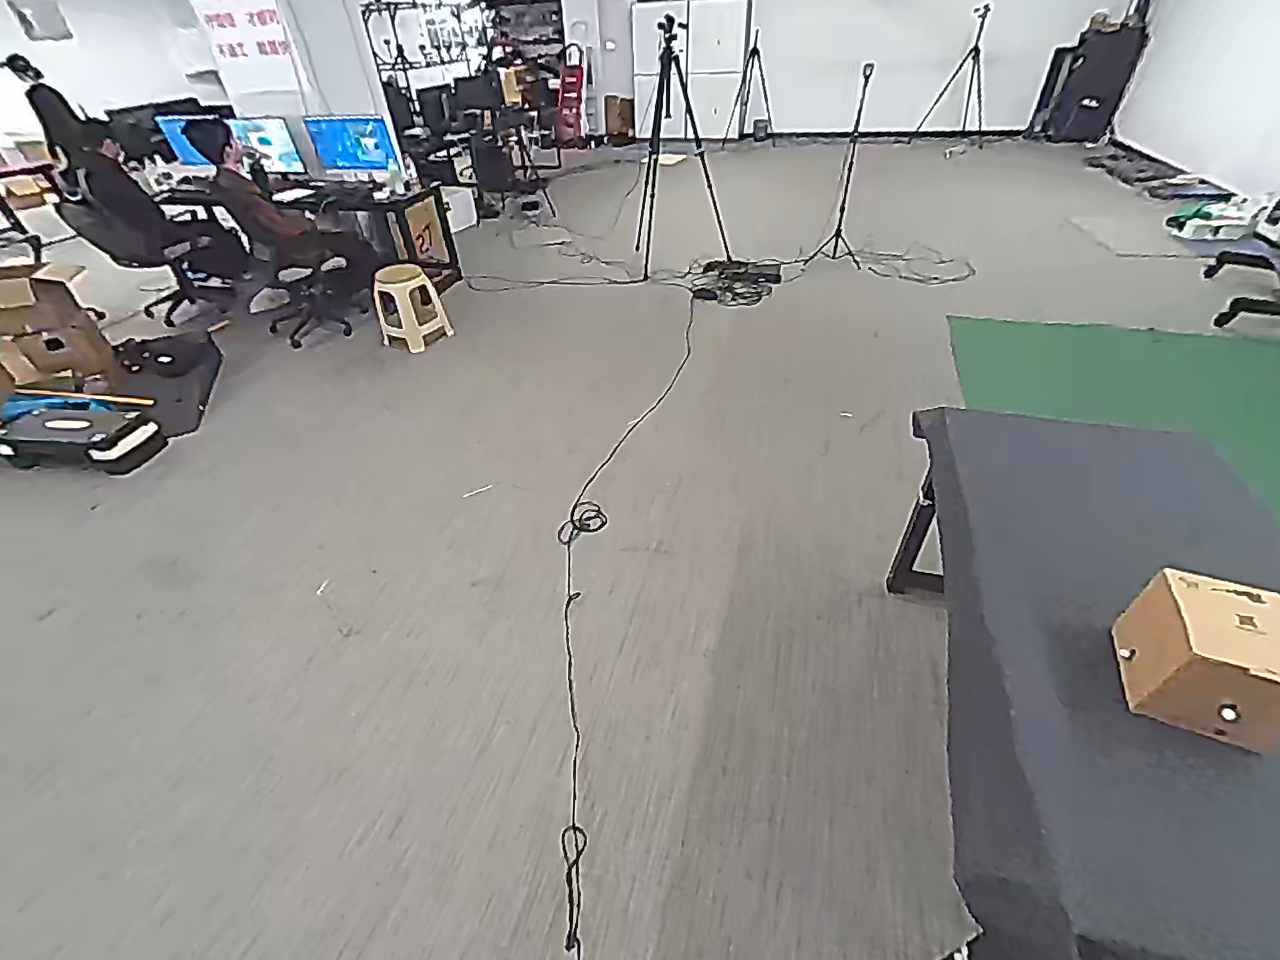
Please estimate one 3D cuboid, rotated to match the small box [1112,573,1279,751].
[{"bbox_3d":[0.880,0.282,0.836,0.168,0.176,0.179,15,44,20],"label":"small box"}]
